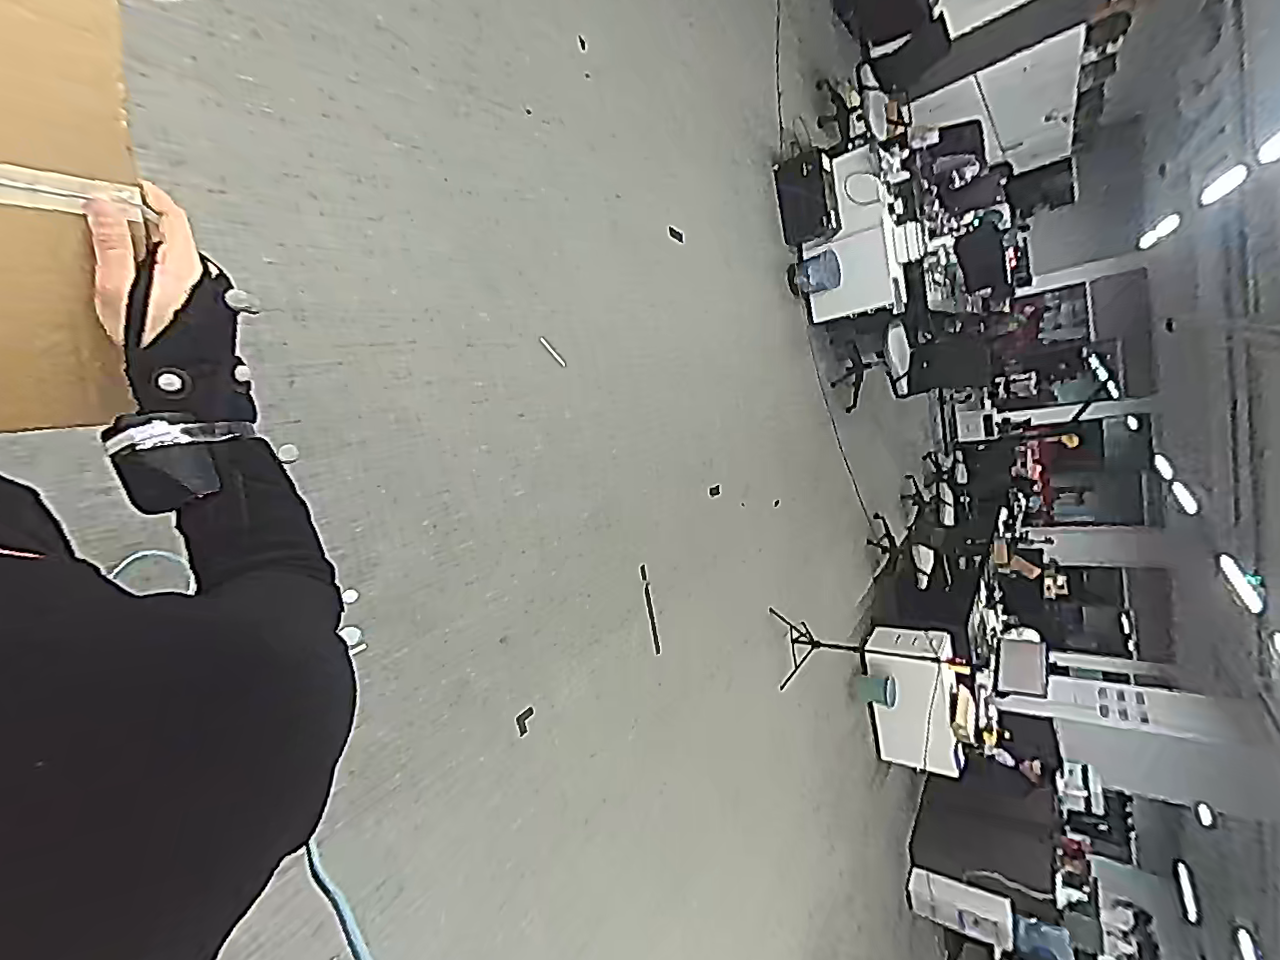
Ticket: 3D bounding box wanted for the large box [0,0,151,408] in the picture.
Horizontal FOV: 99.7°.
[{"bbox_3d":[-0.566,-0.224,0.263,0.408,0.320,0.320,-20,137,-53],"label":"large box"}]
